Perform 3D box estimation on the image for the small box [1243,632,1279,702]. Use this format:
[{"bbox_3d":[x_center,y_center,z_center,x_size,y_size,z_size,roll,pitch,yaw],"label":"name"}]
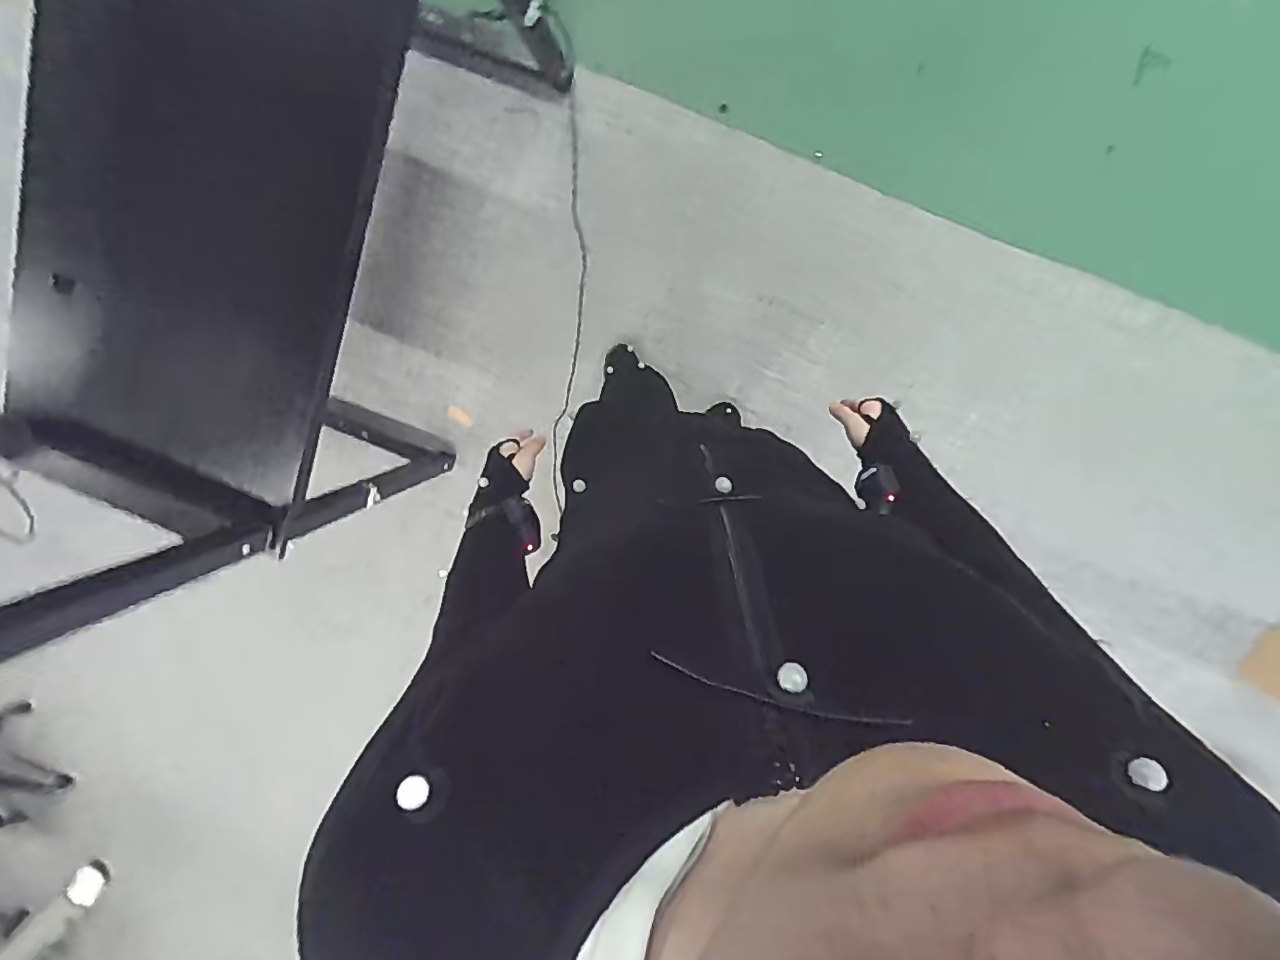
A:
[{"bbox_3d":[1.799,0.536,1.438,0.168,0.176,0.179,22,104,3],"label":"small box"}]
